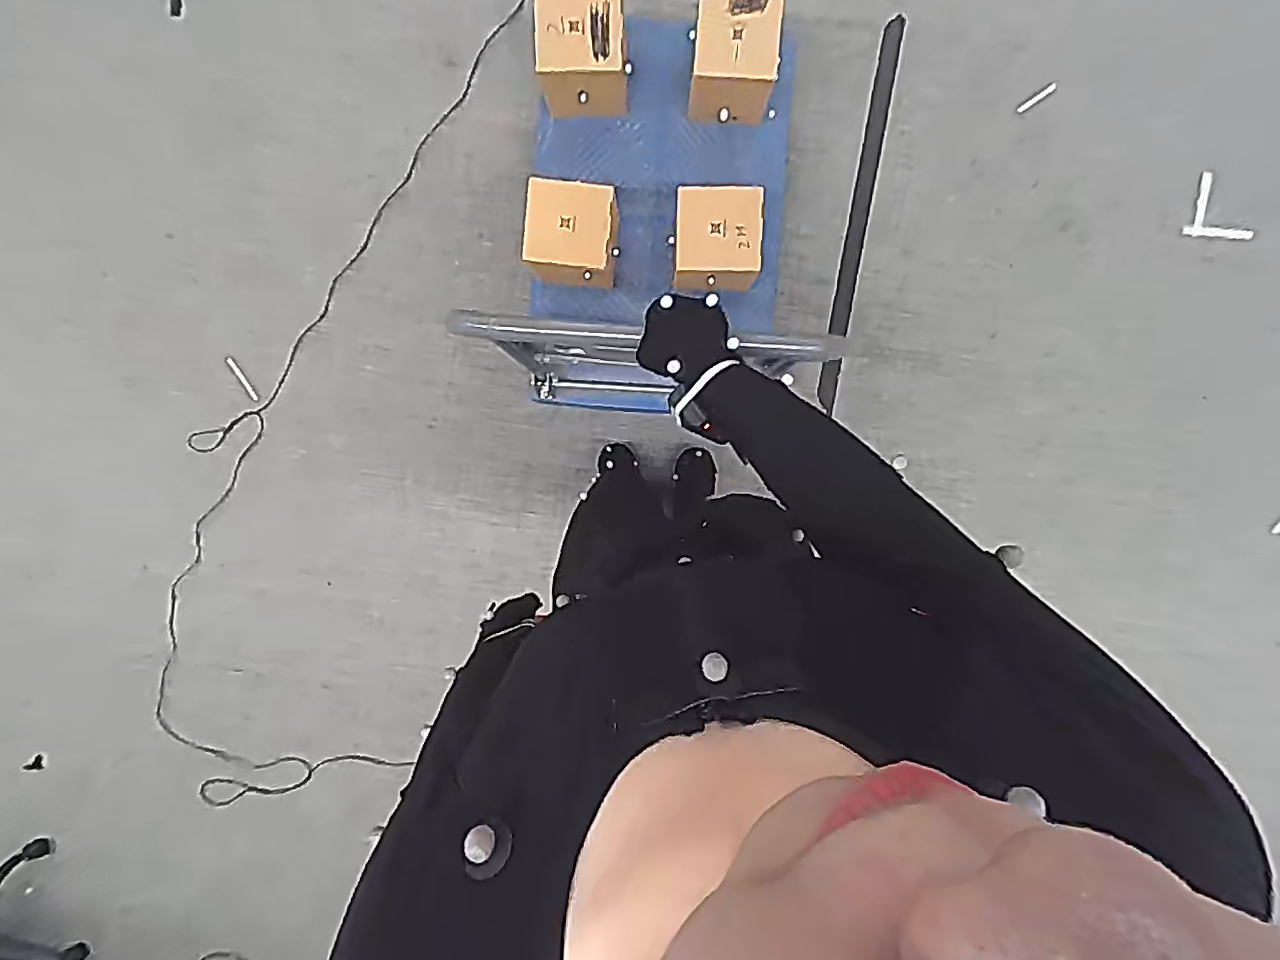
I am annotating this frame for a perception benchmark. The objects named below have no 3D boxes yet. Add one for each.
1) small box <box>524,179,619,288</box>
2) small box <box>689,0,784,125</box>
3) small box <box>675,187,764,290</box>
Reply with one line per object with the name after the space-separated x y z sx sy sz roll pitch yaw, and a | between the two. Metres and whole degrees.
-0.144 -0.530 1.183 0.179 0.176 0.168 6 96 0 | small box
0.195 -0.889 1.136 0.168 0.176 0.179 4 97 1 | small box
0.165 -0.516 1.176 0.179 0.176 0.168 1 96 2 | small box
